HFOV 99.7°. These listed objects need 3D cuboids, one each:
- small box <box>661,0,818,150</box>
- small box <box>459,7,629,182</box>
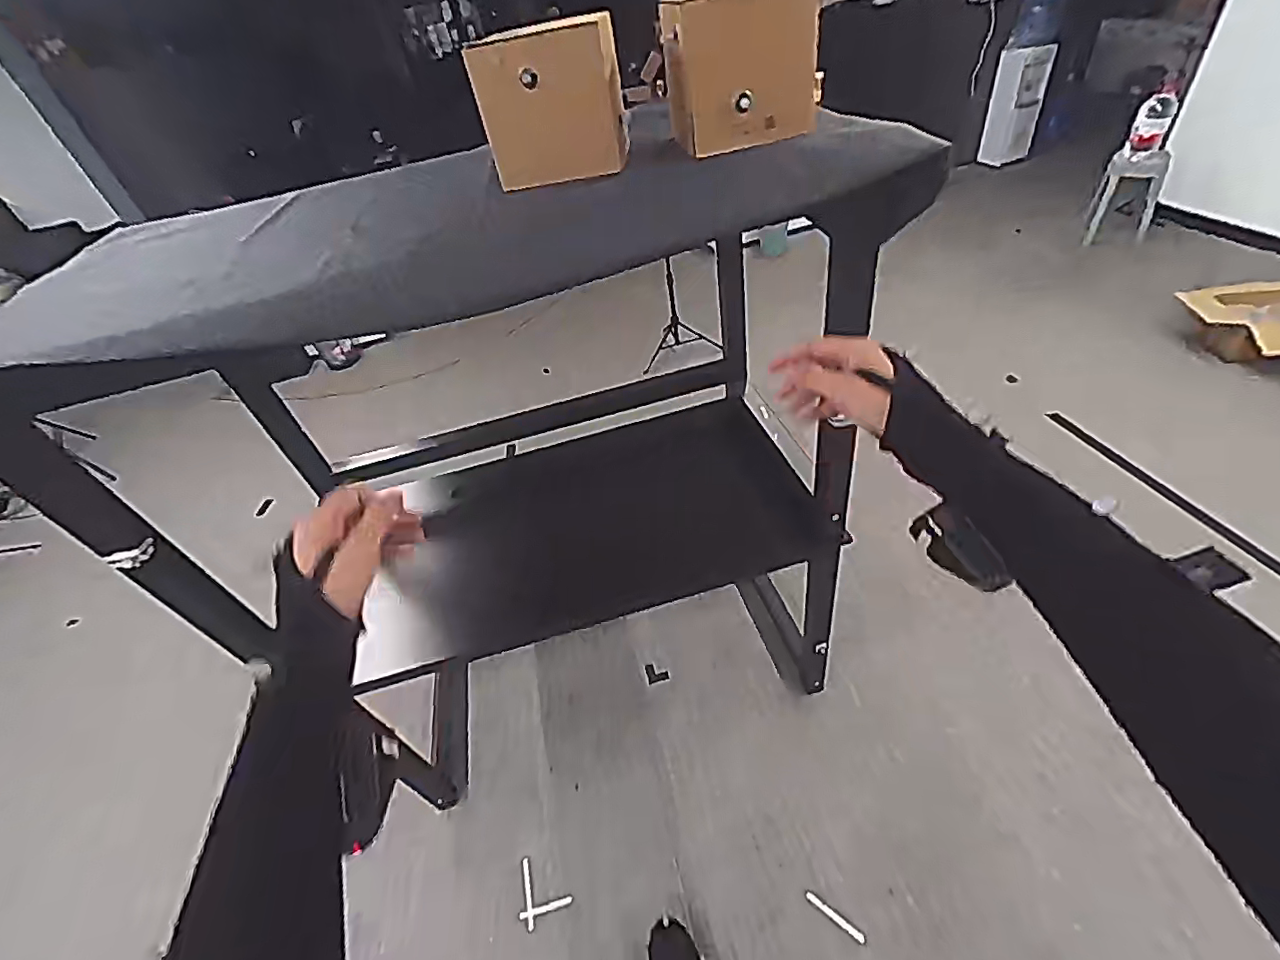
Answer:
[{"bbox_3d":[0.128,-0.568,0.733,0.168,0.176,0.179,-12,42,1],"label":"small box"},{"bbox_3d":[-0.120,-0.535,0.758,0.179,0.176,0.168,-4,43,8],"label":"small box"}]
